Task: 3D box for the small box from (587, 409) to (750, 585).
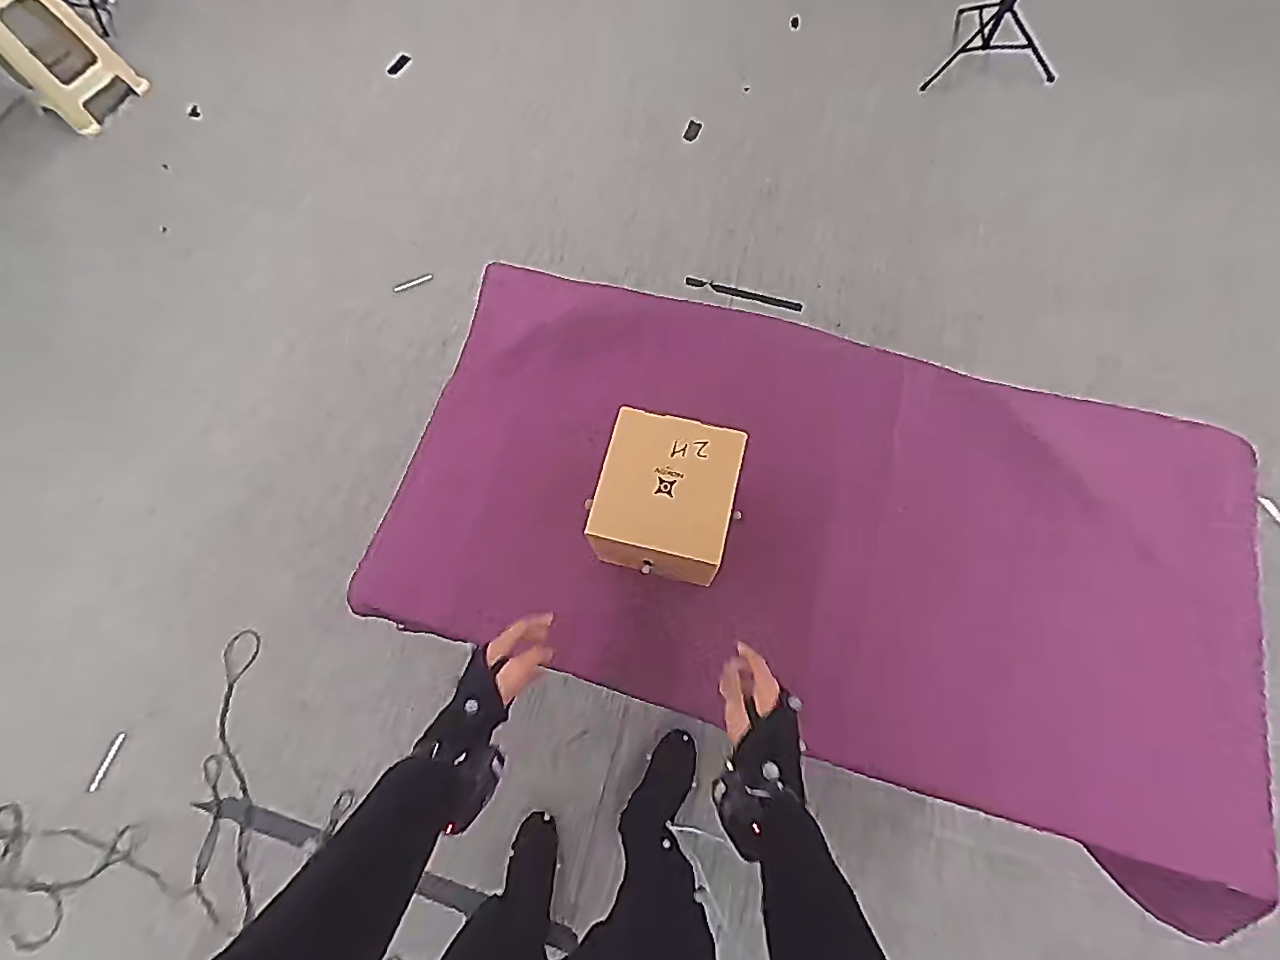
[{"bbox_3d":[0.040,0.032,0.728,0.168,0.176,0.179,14,72,7],"label":"small box"}]
